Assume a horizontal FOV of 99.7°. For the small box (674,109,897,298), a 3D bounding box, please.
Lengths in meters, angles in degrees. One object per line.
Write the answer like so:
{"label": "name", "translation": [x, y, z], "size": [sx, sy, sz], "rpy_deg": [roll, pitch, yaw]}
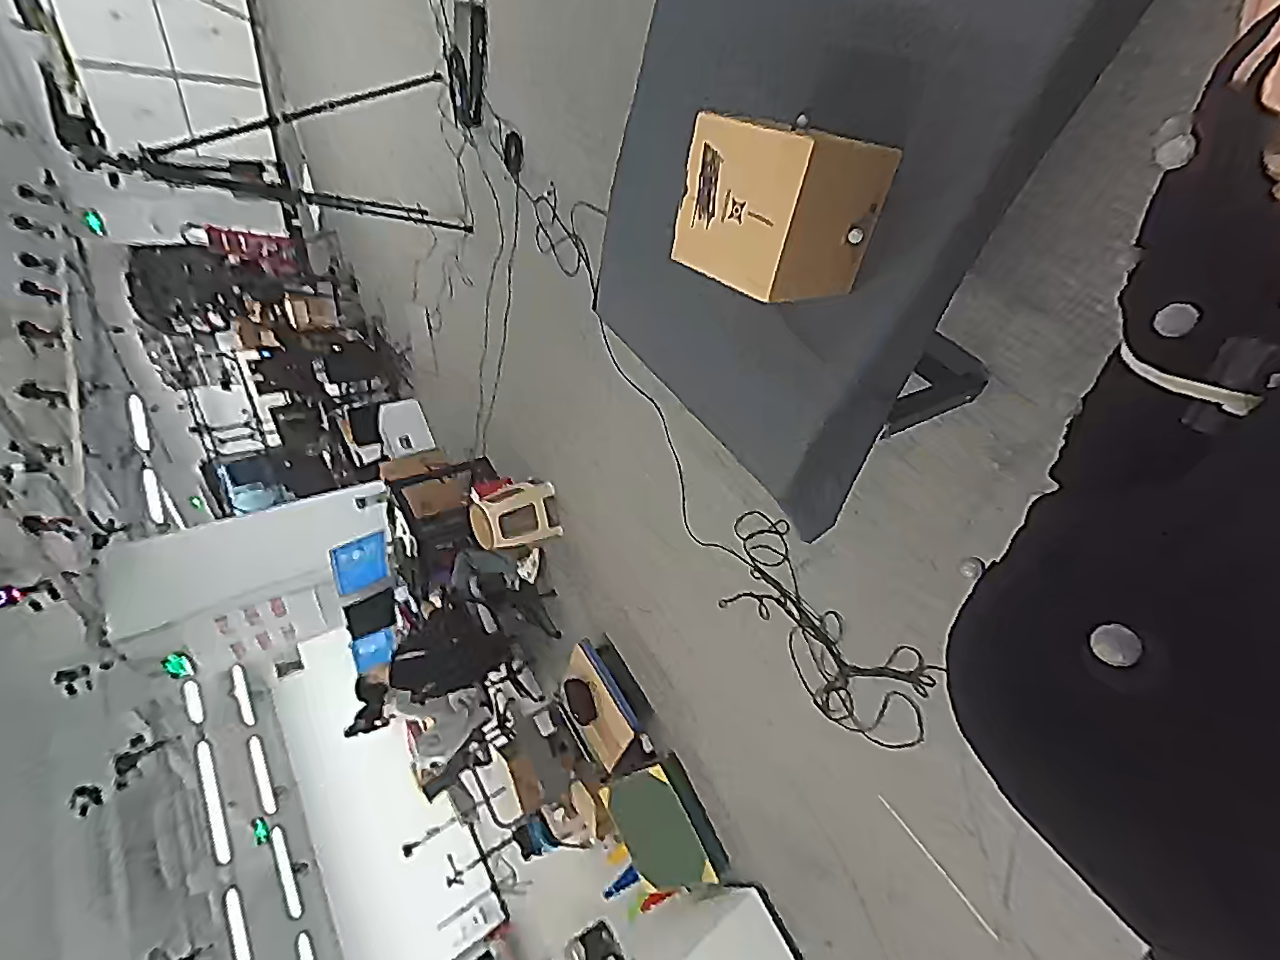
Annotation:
{"label": "small box", "translation": [0.172, -0.339, 0.668], "size": [0.179, 0.176, 0.168], "rpy_deg": [42, 137, 35]}
